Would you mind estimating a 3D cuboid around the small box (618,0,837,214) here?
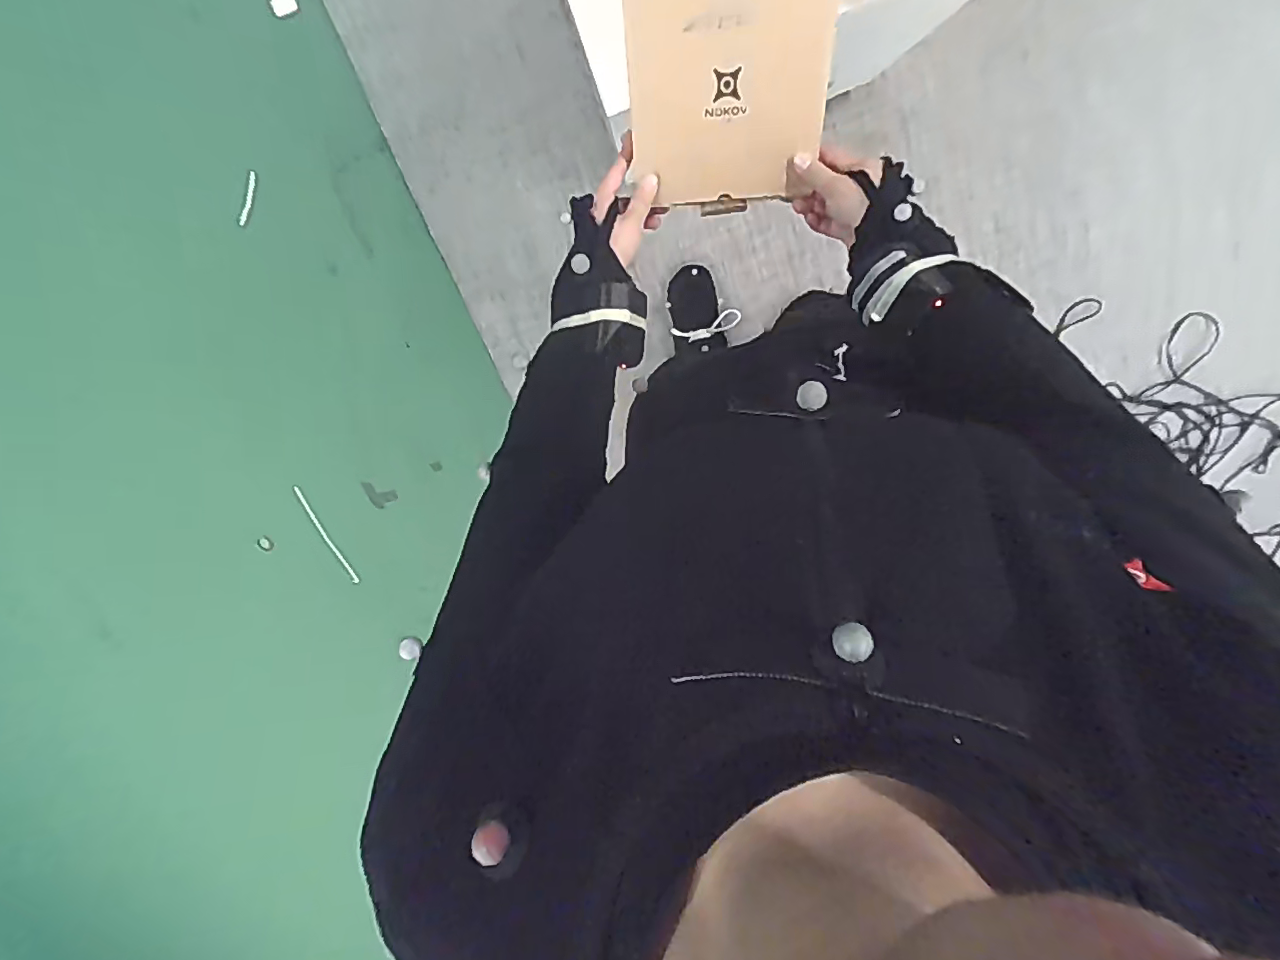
[{"bbox_3d":[0.074,-0.372,0.504,0.168,0.176,0.179,-3,132,5],"label":"small box"}]
